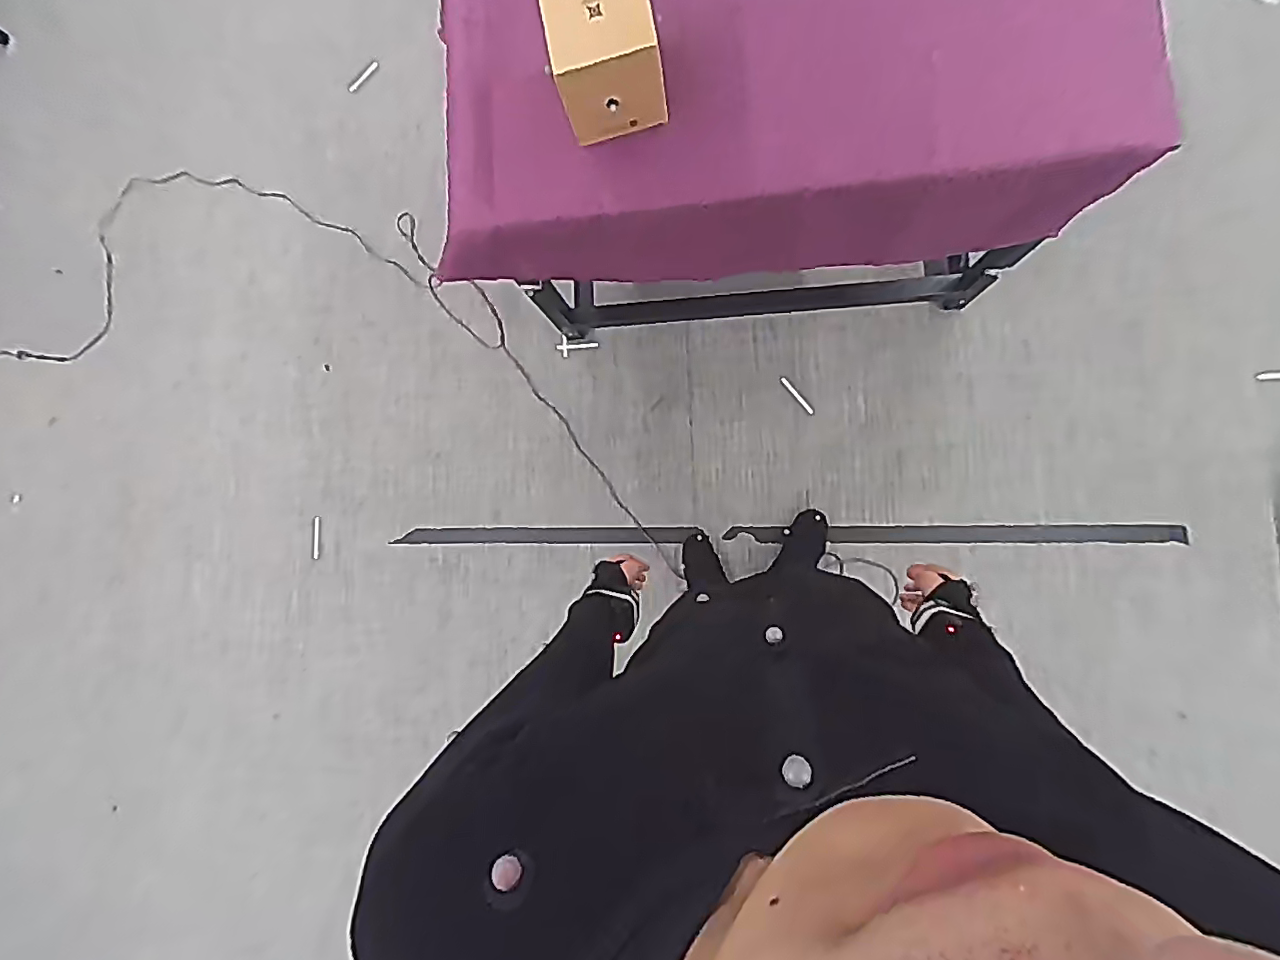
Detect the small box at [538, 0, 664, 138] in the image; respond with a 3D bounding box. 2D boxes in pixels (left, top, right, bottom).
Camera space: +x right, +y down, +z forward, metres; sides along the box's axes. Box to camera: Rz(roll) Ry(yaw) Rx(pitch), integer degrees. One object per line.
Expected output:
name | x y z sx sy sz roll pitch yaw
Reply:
small box | -0.059 -0.706 0.895 0.168 0.176 0.179 -11 85 7
